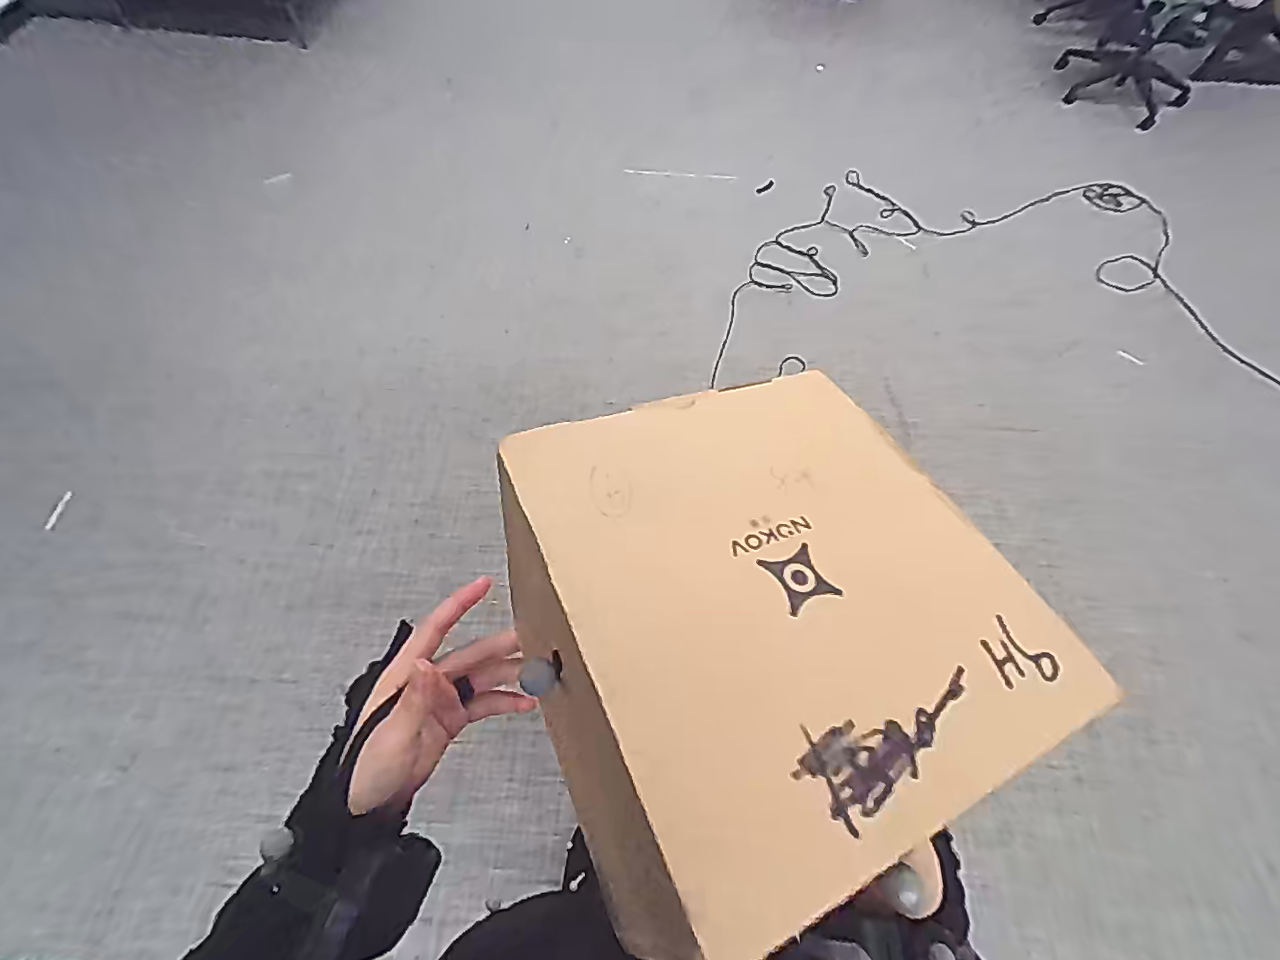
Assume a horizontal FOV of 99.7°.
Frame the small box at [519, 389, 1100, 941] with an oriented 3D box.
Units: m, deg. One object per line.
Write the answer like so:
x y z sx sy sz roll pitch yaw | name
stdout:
0.044 0.085 0.268 0.168 0.176 0.179 -16 55 -22 | small box
